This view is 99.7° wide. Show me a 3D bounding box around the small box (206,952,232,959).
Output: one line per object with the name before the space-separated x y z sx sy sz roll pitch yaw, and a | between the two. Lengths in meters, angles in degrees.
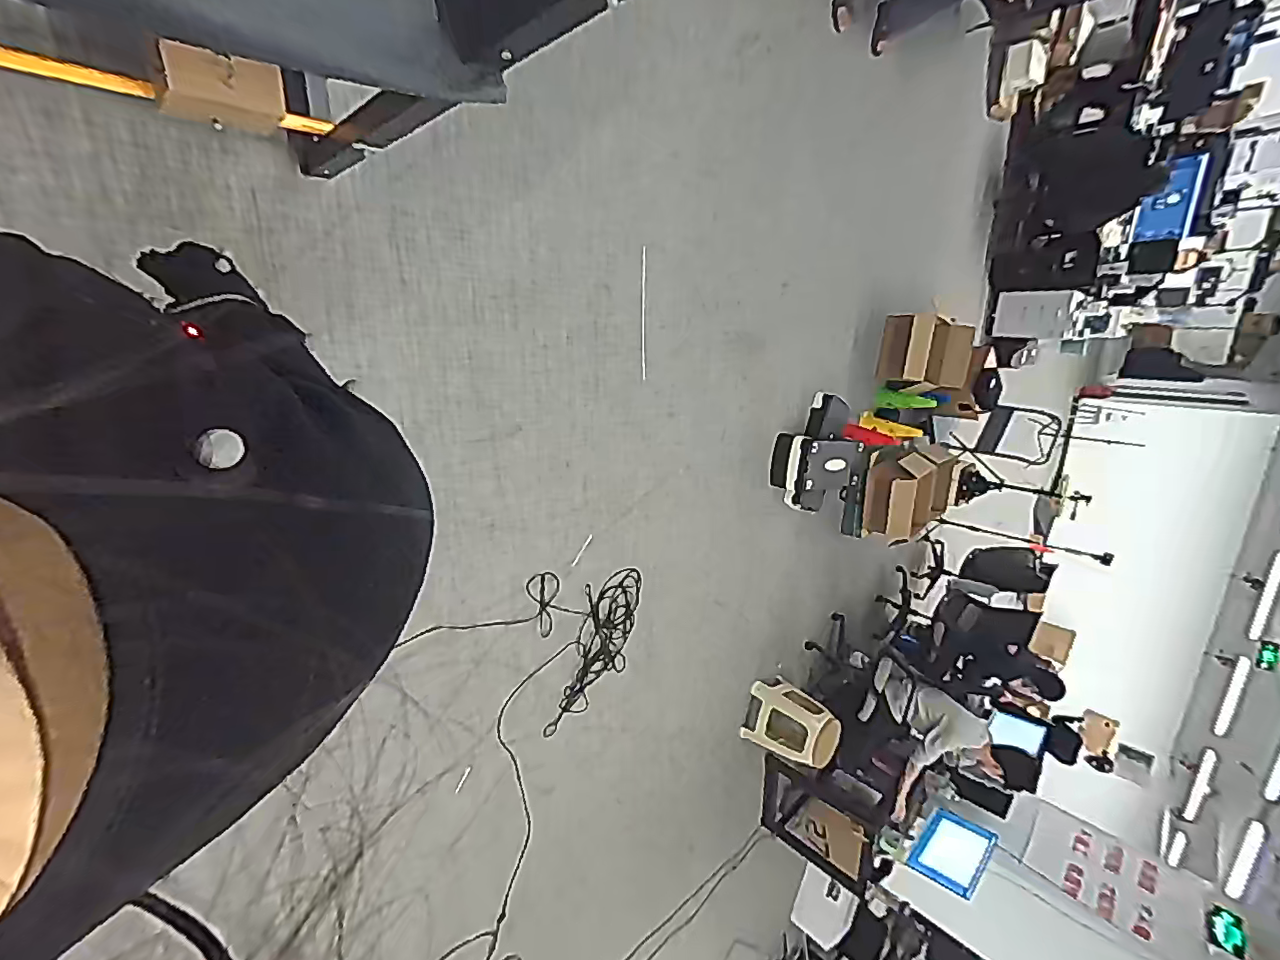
small box | -1.096 1.337 1.340 0.168 0.176 0.179 -12 110 -42
